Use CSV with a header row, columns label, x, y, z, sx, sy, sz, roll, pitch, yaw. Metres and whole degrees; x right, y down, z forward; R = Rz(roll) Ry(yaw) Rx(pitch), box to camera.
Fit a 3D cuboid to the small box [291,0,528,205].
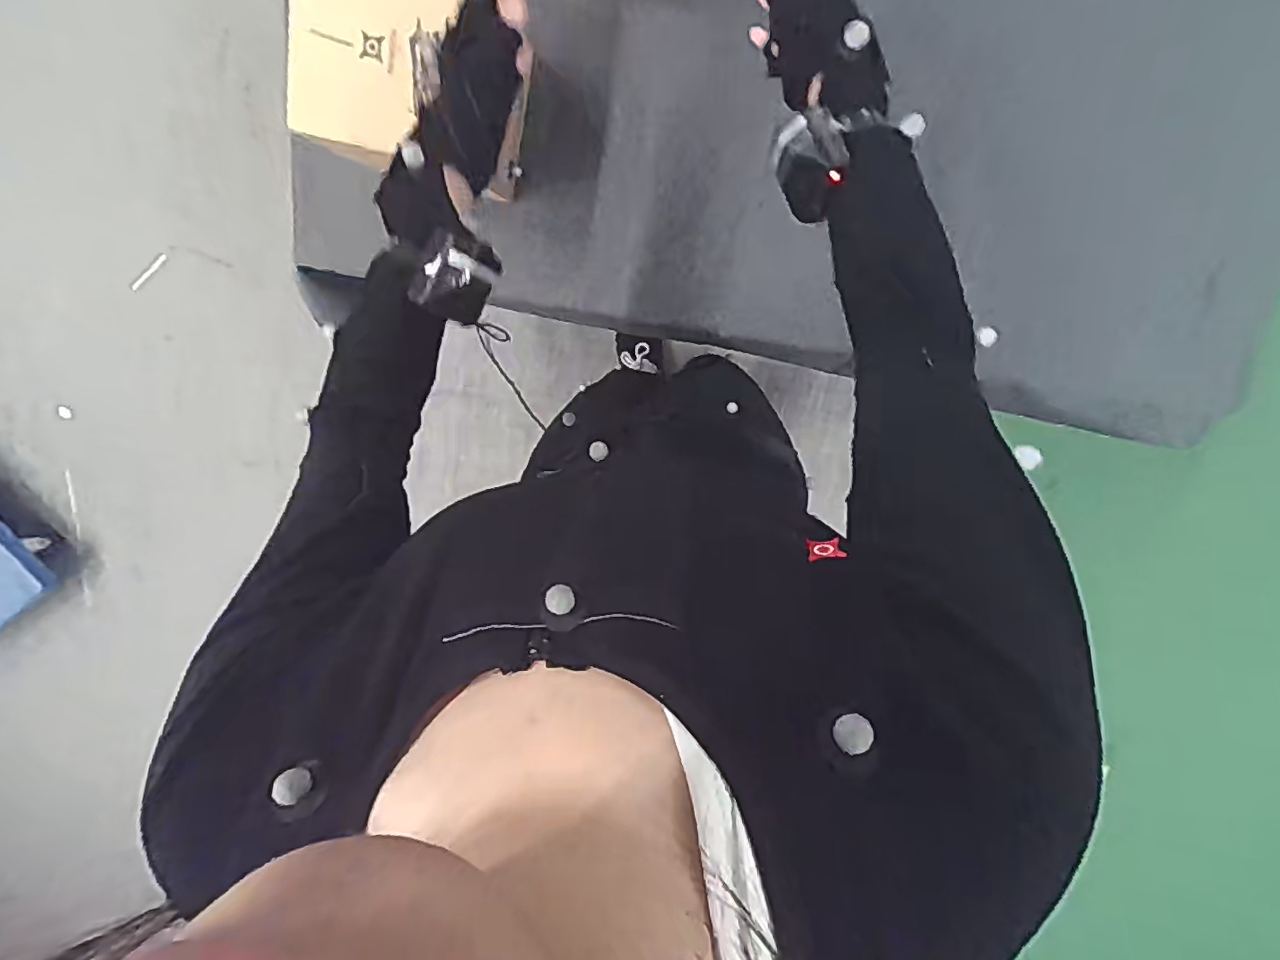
label,x,y,z,sx,sy,sz,roll,pitch,yaw
small box,-0.230,-0.408,0.573,0.179,0.176,0.168,13,107,0
